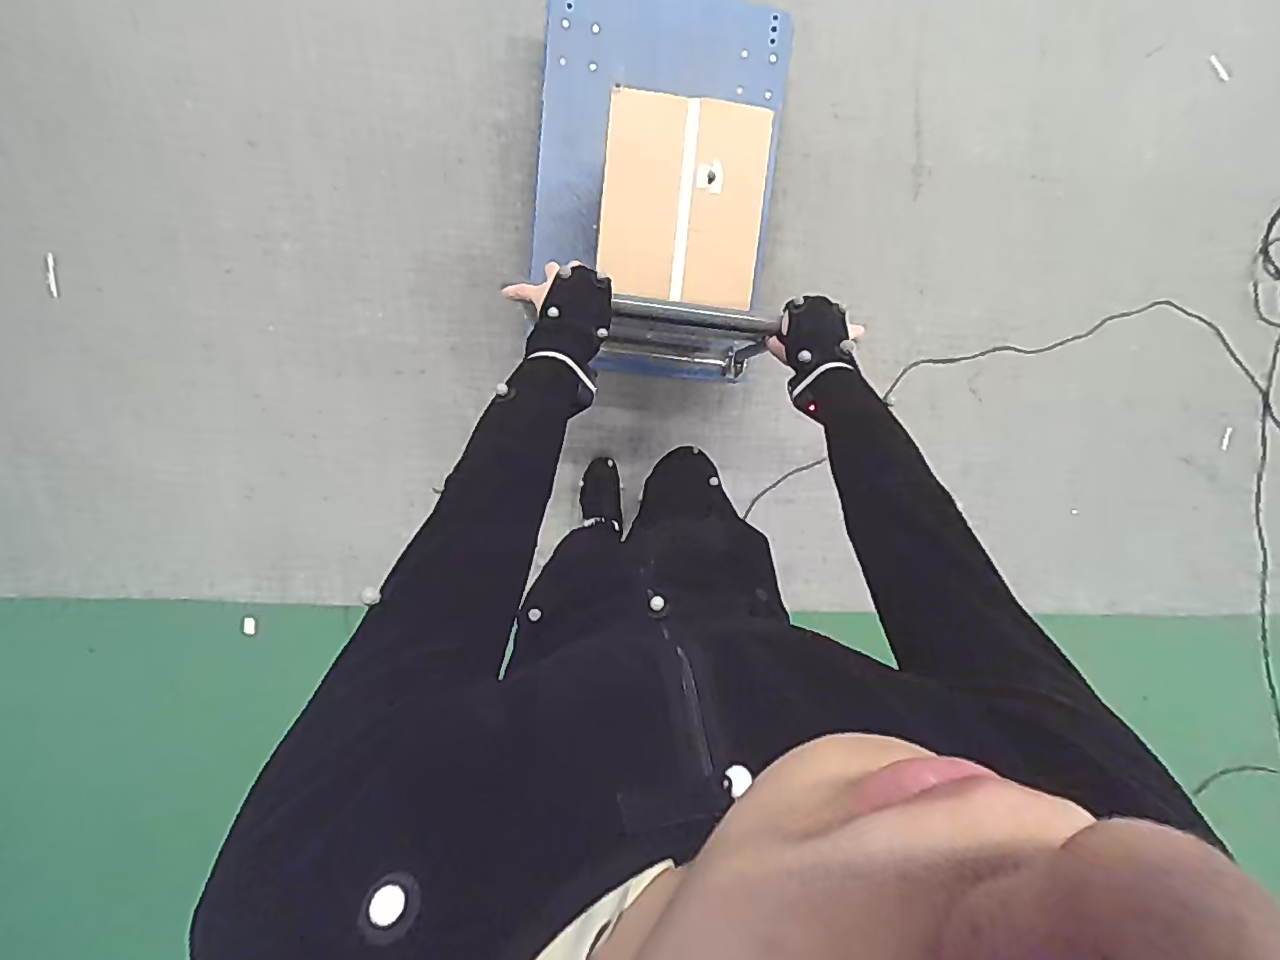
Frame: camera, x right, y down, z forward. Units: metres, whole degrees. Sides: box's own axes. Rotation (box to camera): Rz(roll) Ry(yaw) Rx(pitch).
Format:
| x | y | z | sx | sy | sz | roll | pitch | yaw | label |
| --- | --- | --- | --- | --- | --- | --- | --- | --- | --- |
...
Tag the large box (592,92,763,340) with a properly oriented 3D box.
| x | y | z | sx | sy | sz | roll | pitch | yaw | label |
| --- | --- | --- | --- | --- | --- | --- | --- | --- | --- |
| 0.061 | -0.539 | 1.195 | 0.320 | 0.320 | 0.408 | 4 | 97 | -6 | large box |
